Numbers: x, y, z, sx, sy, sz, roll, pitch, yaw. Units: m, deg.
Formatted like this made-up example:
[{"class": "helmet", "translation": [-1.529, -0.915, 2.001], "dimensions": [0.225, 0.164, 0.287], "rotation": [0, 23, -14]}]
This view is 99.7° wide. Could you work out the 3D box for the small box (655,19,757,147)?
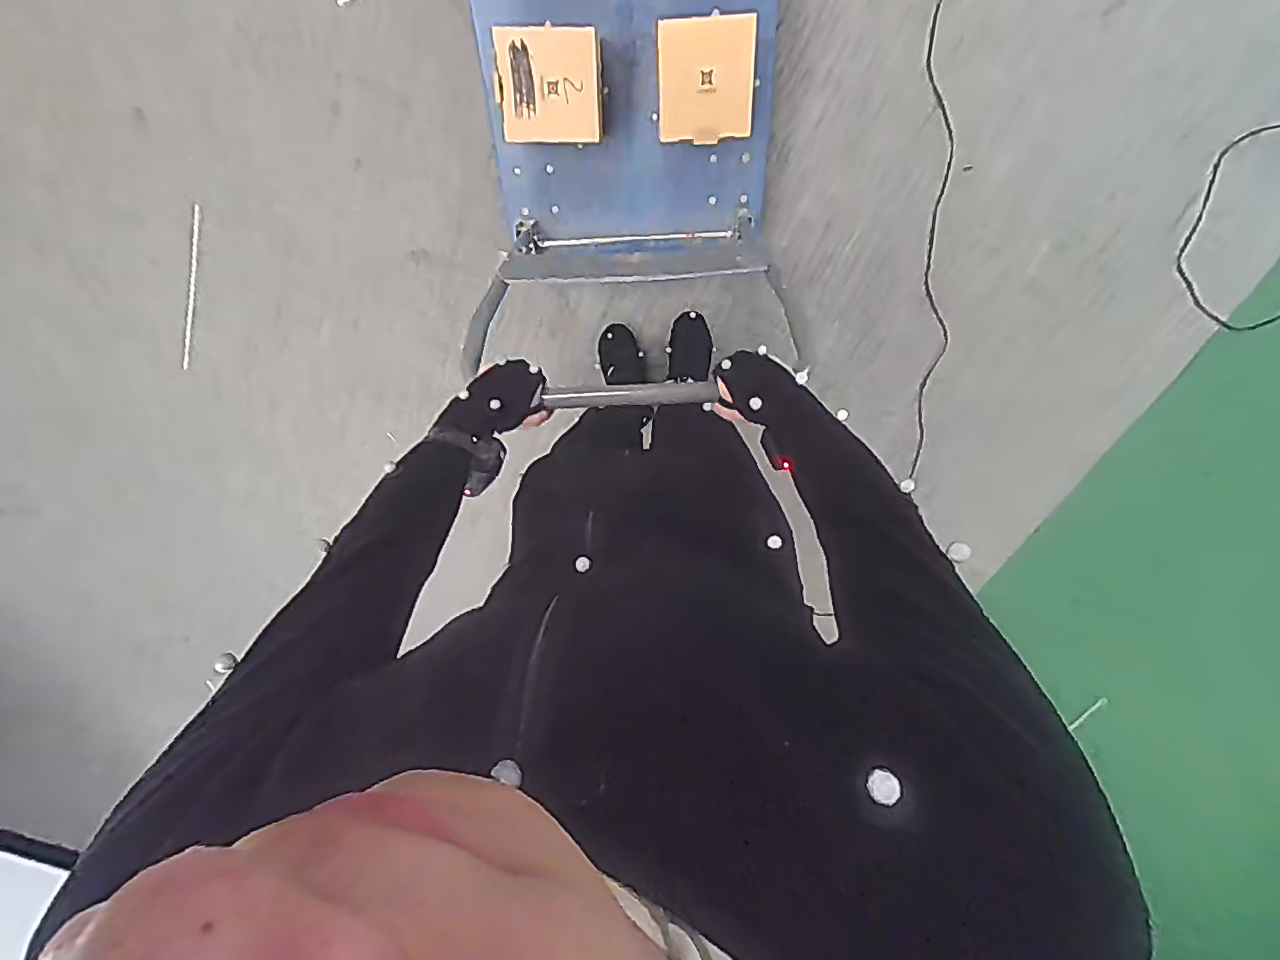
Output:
[{"class": "small box", "translation": [0.115, -0.732, 1.006], "dimensions": [0.168, 0.176, 0.179], "rotation": [-3, 127, 2]}]
